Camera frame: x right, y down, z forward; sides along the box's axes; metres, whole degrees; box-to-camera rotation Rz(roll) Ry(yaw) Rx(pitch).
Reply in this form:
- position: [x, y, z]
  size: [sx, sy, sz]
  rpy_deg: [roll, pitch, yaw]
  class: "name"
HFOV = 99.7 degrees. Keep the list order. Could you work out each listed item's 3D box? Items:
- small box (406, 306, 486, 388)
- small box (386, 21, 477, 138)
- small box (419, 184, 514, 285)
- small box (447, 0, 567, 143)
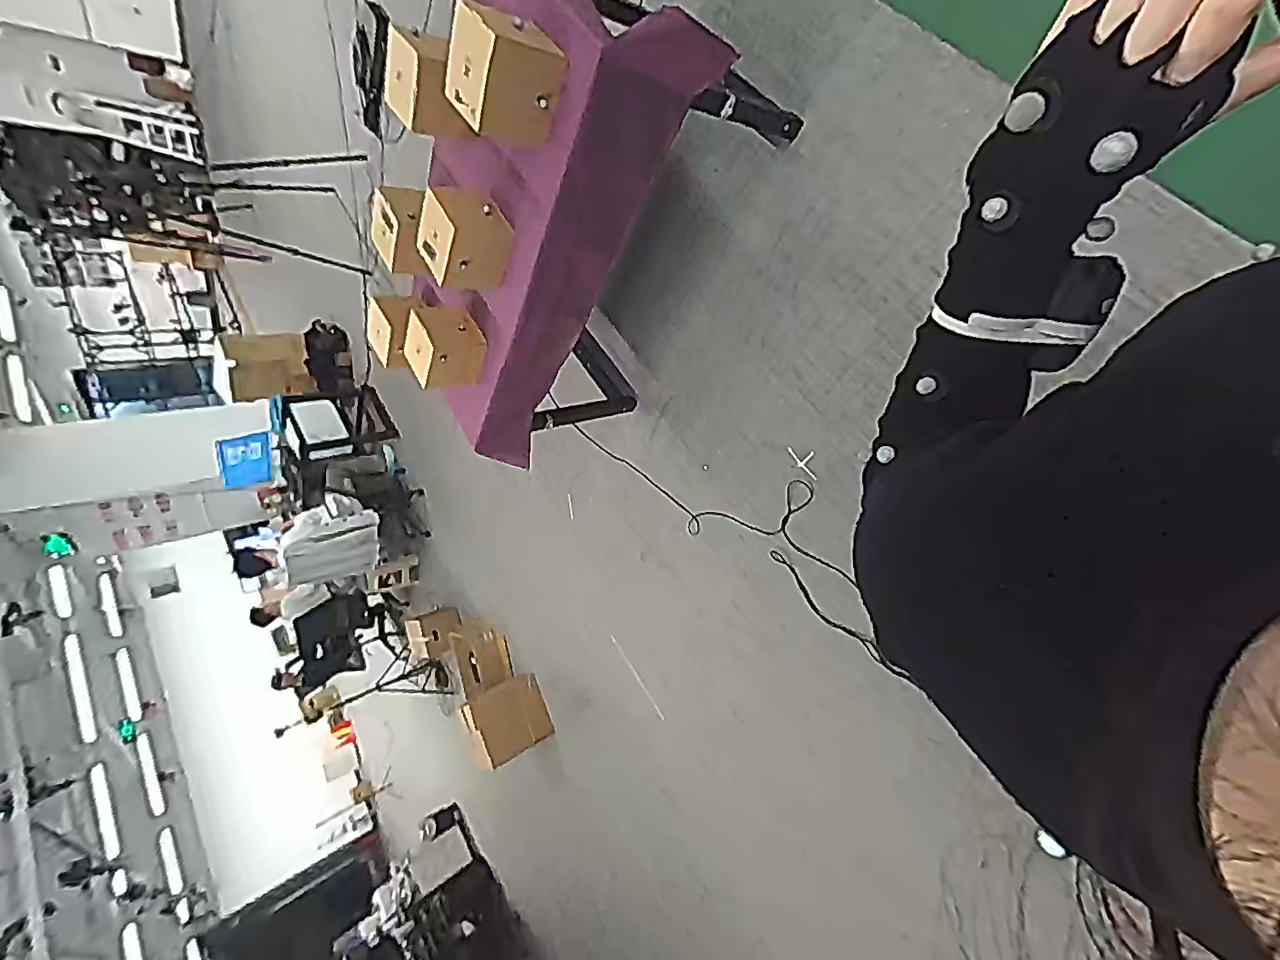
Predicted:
- position: [-0.586, -0.403, 1.637]
  size: [0.168, 0.176, 0.179]
  rpy_deg: [56, 136, 19]
  class: "small box"
- position: [-0.507, -0.981, 1.339]
  size: [0.179, 0.176, 0.168]
  rpy_deg: [53, 137, 22]
  class: "small box"
- position: [-0.448, -0.625, 1.400]
  size: [0.168, 0.176, 0.179]
  rpy_deg: [57, 137, 18]
  class: "small box"
- position: [-0.274, -0.842, 1.124]
  size: [0.168, 0.176, 0.179]
  rpy_deg: [55, 137, 21]
  class: "small box"
